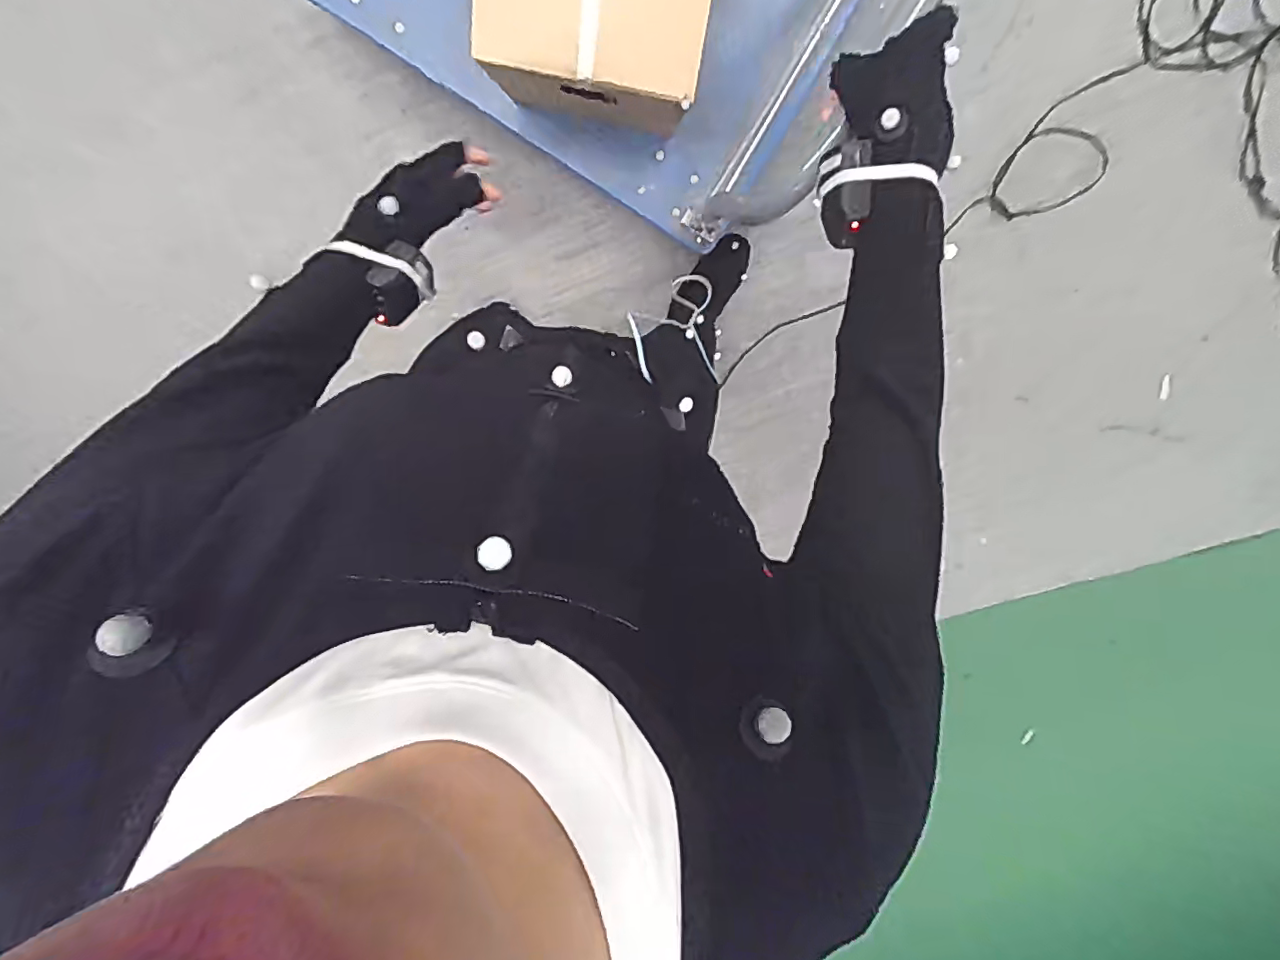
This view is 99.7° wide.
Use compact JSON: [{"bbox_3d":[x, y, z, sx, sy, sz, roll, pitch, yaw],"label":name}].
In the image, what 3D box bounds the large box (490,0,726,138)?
[{"bbox_3d":[-0.033,-0.789,0.811,0.320,0.320,0.408,8,116,-5],"label":"large box"}]
